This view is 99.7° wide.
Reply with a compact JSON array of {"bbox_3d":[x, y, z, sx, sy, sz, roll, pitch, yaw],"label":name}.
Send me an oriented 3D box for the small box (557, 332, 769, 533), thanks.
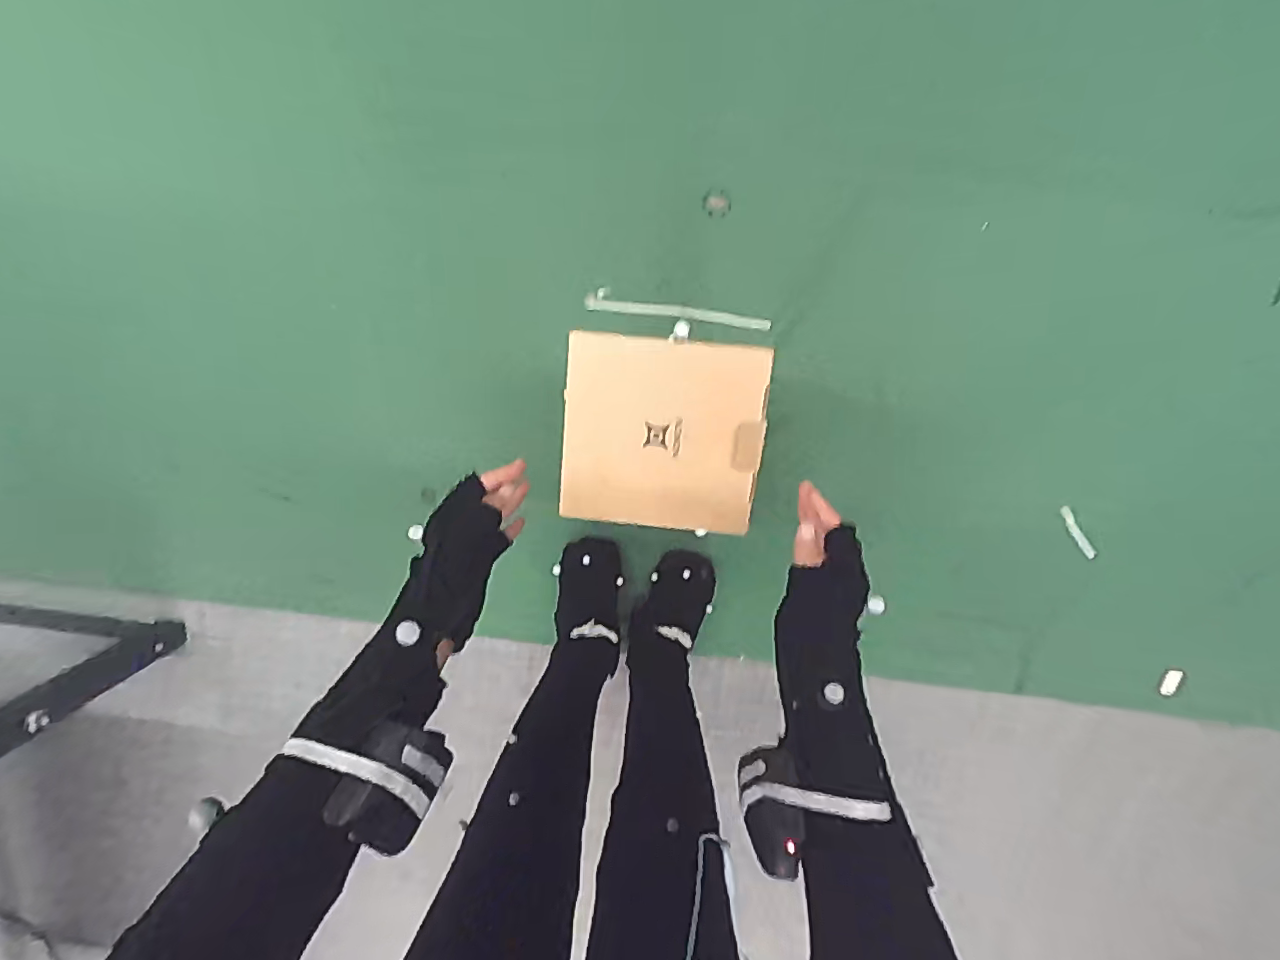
[{"bbox_3d":[0.020,-0.056,0.555,0.179,0.176,0.168,5,103,1],"label":"small box"}]
